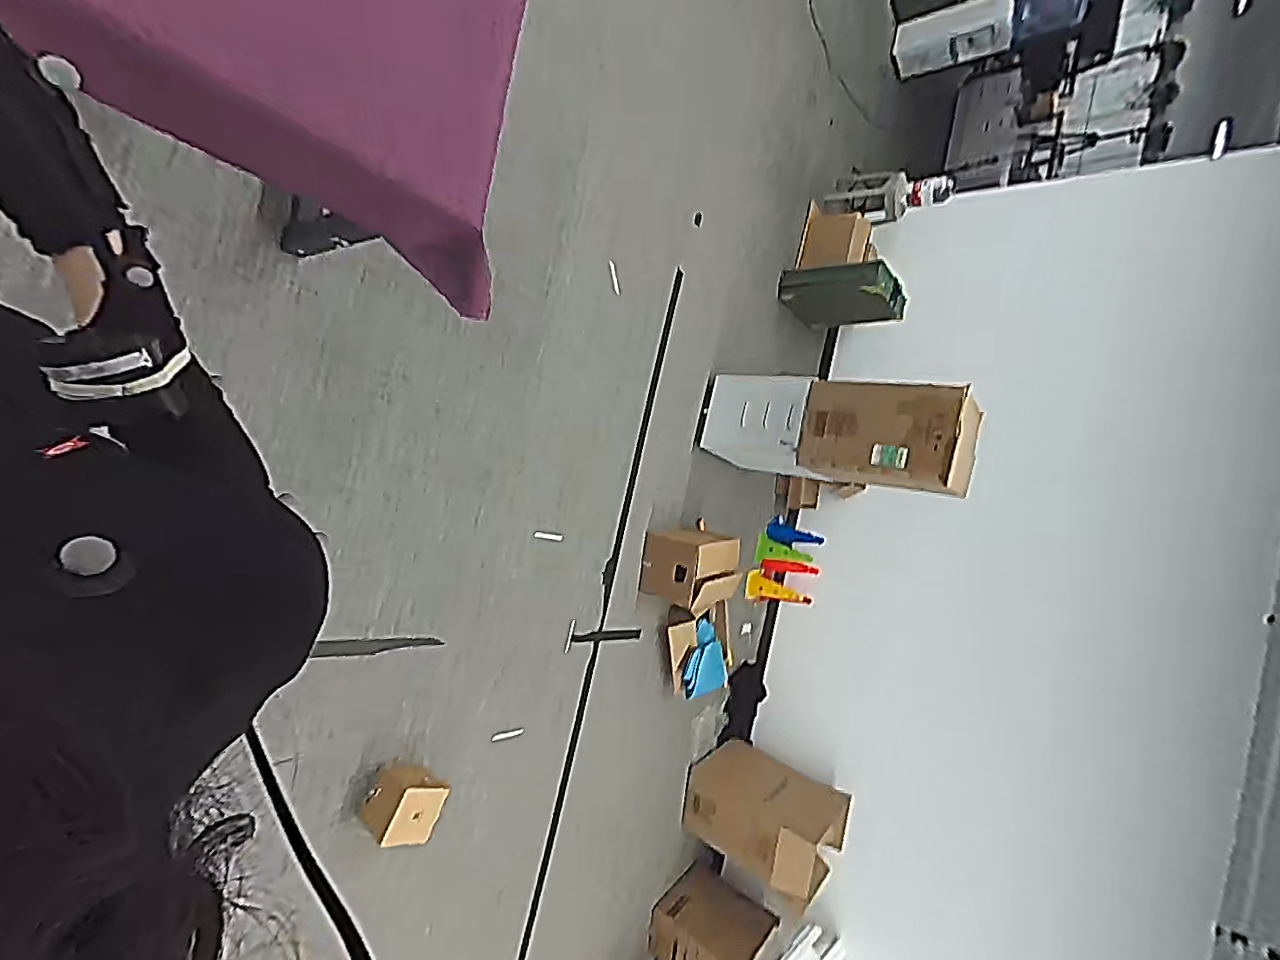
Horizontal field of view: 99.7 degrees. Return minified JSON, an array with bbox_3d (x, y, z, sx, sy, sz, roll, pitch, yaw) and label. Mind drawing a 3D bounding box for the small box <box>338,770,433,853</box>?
[{"bbox_3d":[-0.793,1.027,1.684,0.179,0.176,0.168,42,64,-48],"label":"small box"}]
